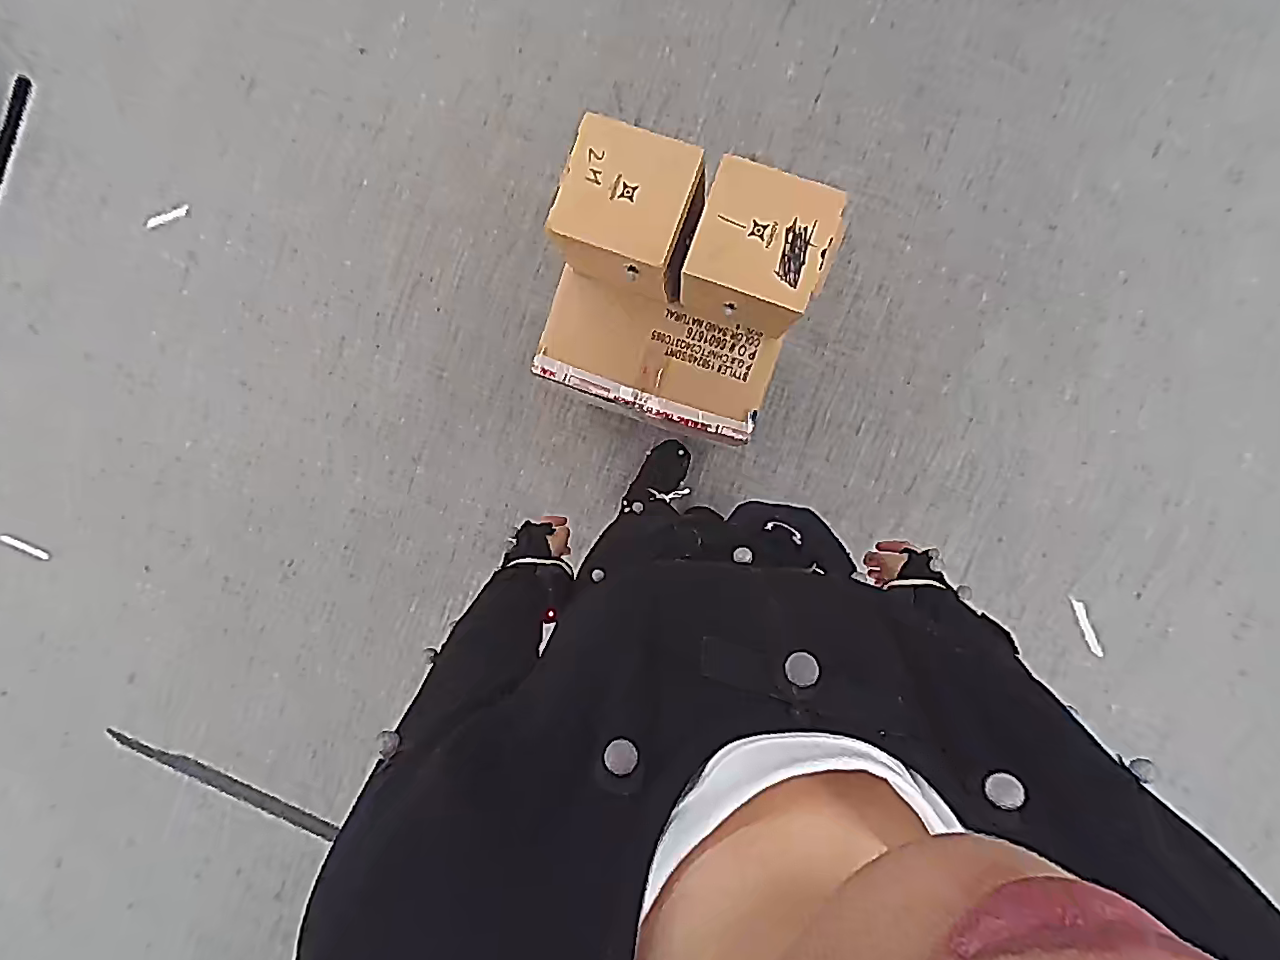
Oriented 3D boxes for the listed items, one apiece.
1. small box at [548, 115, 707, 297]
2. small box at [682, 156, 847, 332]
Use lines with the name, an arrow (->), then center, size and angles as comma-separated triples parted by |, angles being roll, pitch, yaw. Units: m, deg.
small box -> -0.009, -0.393, 0.810 | 0.179, 0.176, 0.168 | 22, 94, 6
small box -> 0.171, -0.331, 0.799 | 0.179, 0.176, 0.168 | 20, 95, 3
